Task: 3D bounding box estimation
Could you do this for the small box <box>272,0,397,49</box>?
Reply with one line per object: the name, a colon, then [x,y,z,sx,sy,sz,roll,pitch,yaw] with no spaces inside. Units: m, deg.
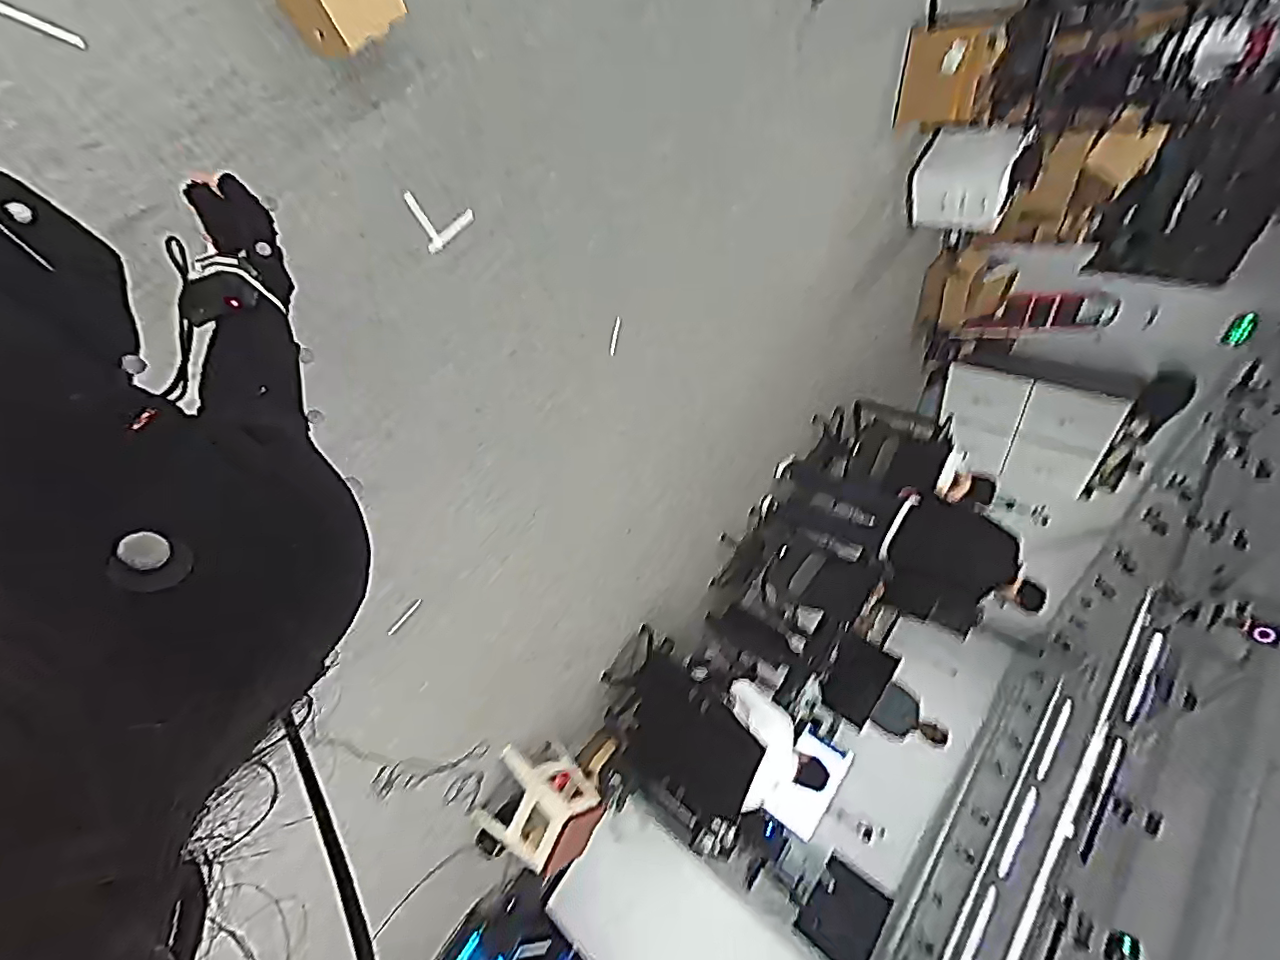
small box: [-0.642,-1.006,1.088,0.168,0.176,0.179,-53,144,-18]
